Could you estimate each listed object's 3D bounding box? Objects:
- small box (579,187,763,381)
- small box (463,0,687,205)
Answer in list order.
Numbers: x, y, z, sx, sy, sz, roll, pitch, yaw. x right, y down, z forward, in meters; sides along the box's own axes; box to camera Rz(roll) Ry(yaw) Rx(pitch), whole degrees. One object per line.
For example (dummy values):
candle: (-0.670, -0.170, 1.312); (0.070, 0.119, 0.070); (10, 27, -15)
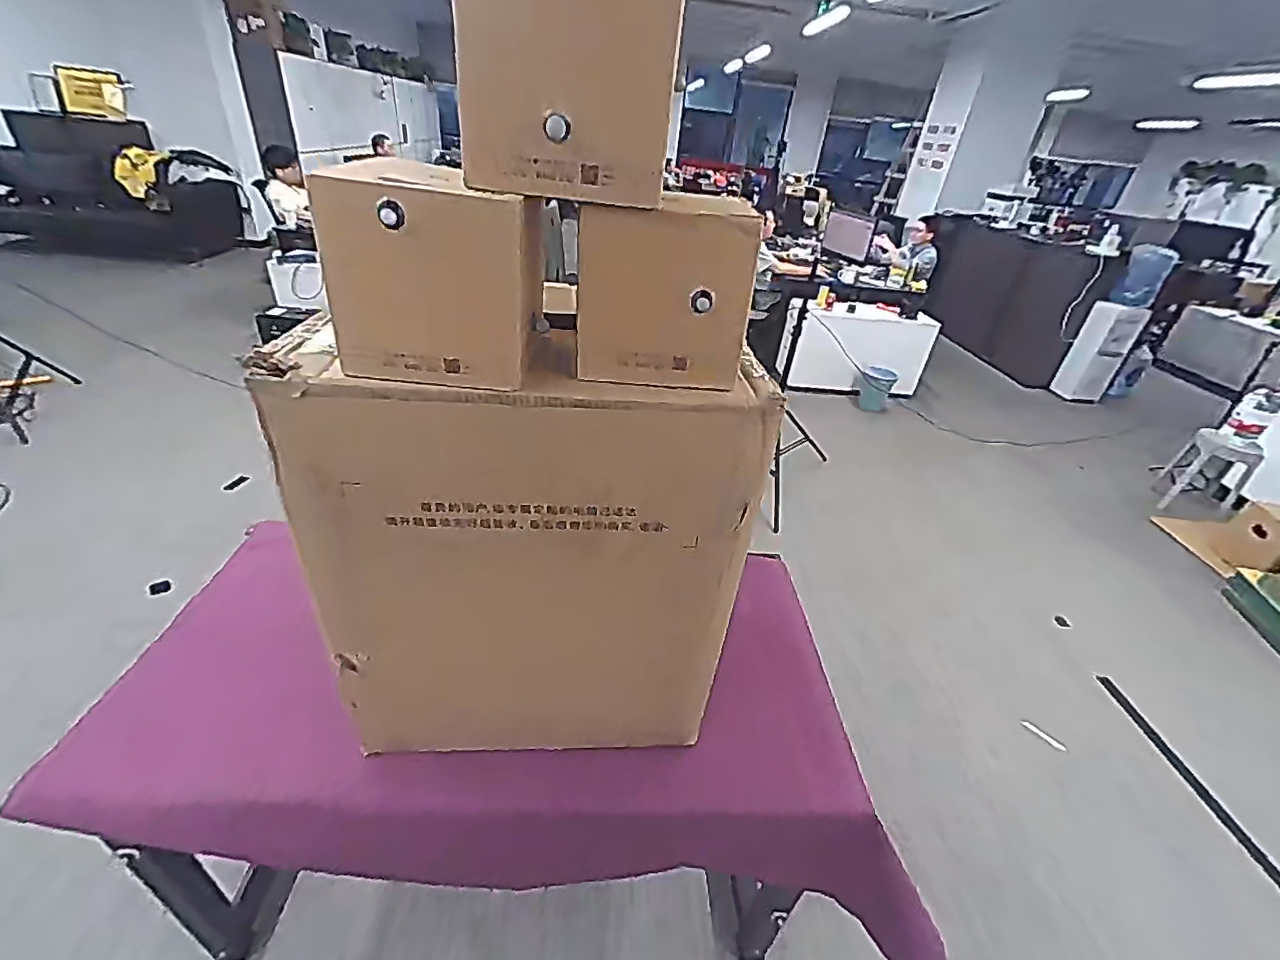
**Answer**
small box: (0.024, -0.215, 0.582); (0.168, 0.176, 0.179); (4, 31, -3)
small box: (-0.056, -0.354, 0.478); (0.168, 0.176, 0.179); (4, 33, -5)
